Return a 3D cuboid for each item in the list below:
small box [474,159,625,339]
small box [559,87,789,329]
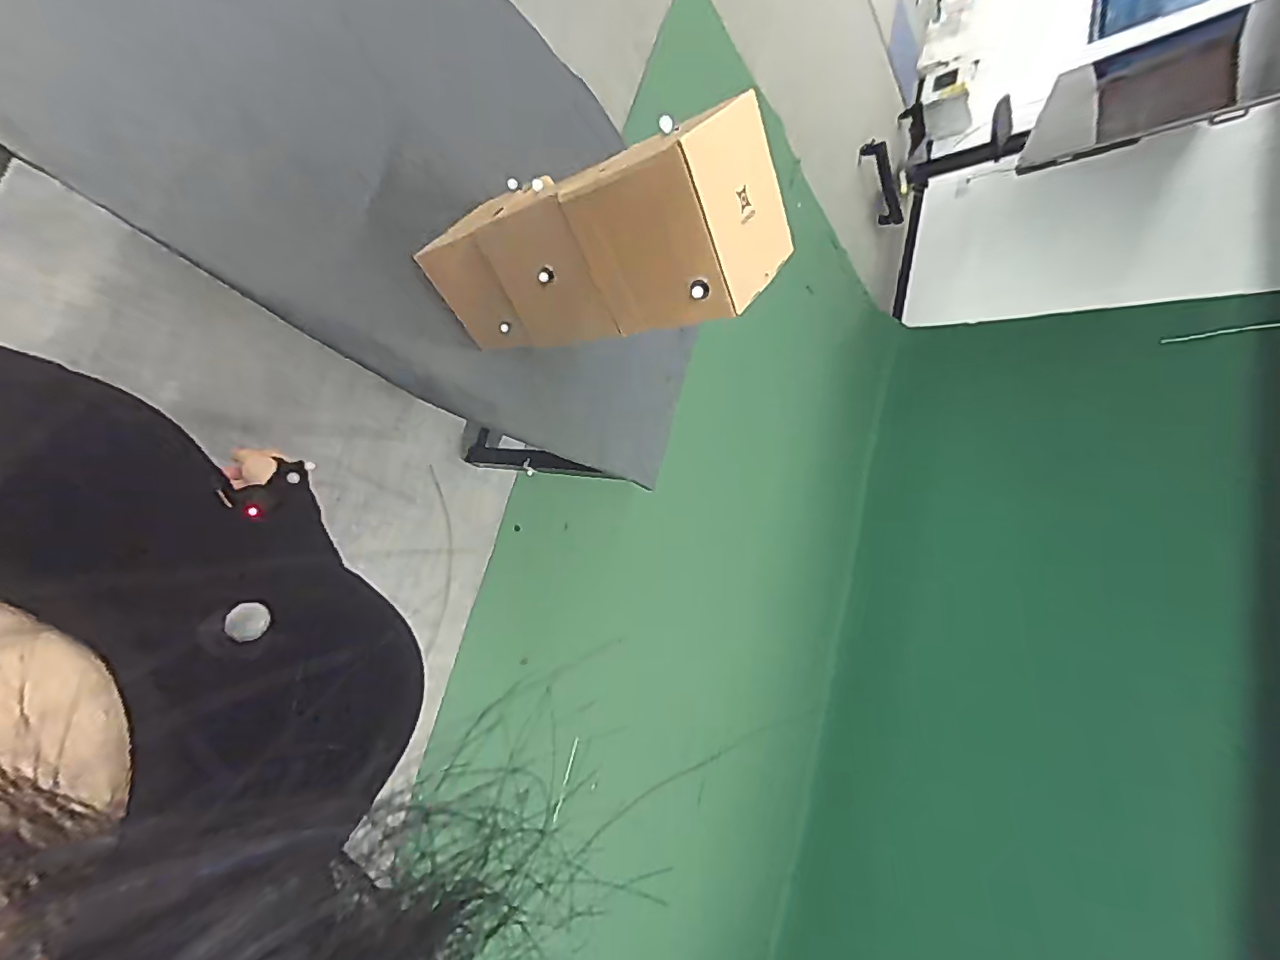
[{"bbox_3d":[-0.079,-0.300,0.714,0.168,0.176,0.179,-50,128,-34],"label":"small box"},{"bbox_3d":[0.041,-0.291,0.605,0.168,0.176,0.179,-52,130,-33],"label":"small box"}]
